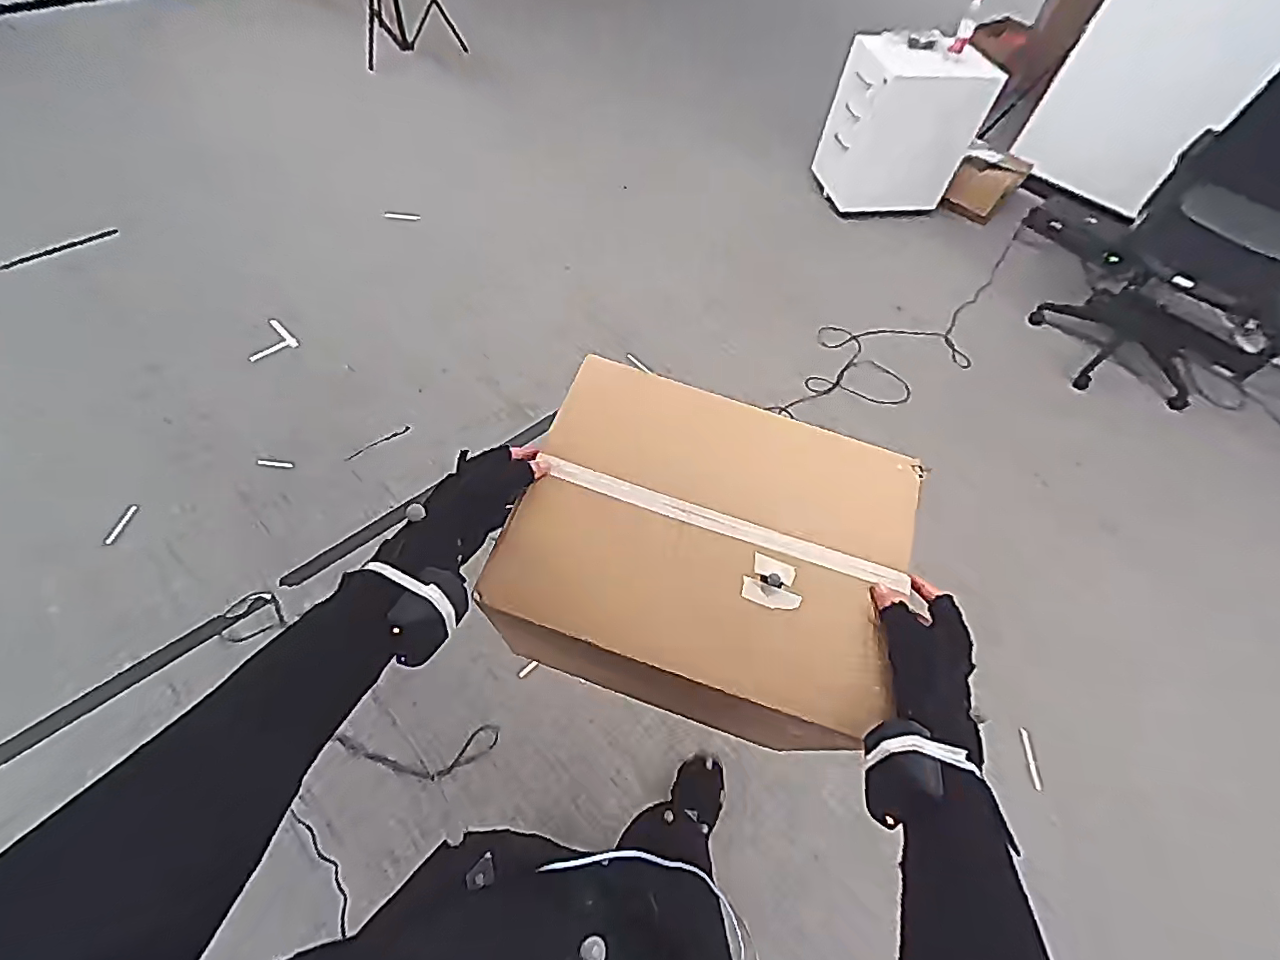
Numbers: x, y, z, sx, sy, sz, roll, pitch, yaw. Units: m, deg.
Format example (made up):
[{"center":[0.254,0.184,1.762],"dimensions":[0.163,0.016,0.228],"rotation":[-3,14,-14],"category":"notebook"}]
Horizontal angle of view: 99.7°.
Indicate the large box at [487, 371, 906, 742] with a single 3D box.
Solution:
[{"center":[0.065,0.119,0.711],"dimensions":[0.408,0.320,0.320],"rotation":[19,64,3],"category":"large box"}]
